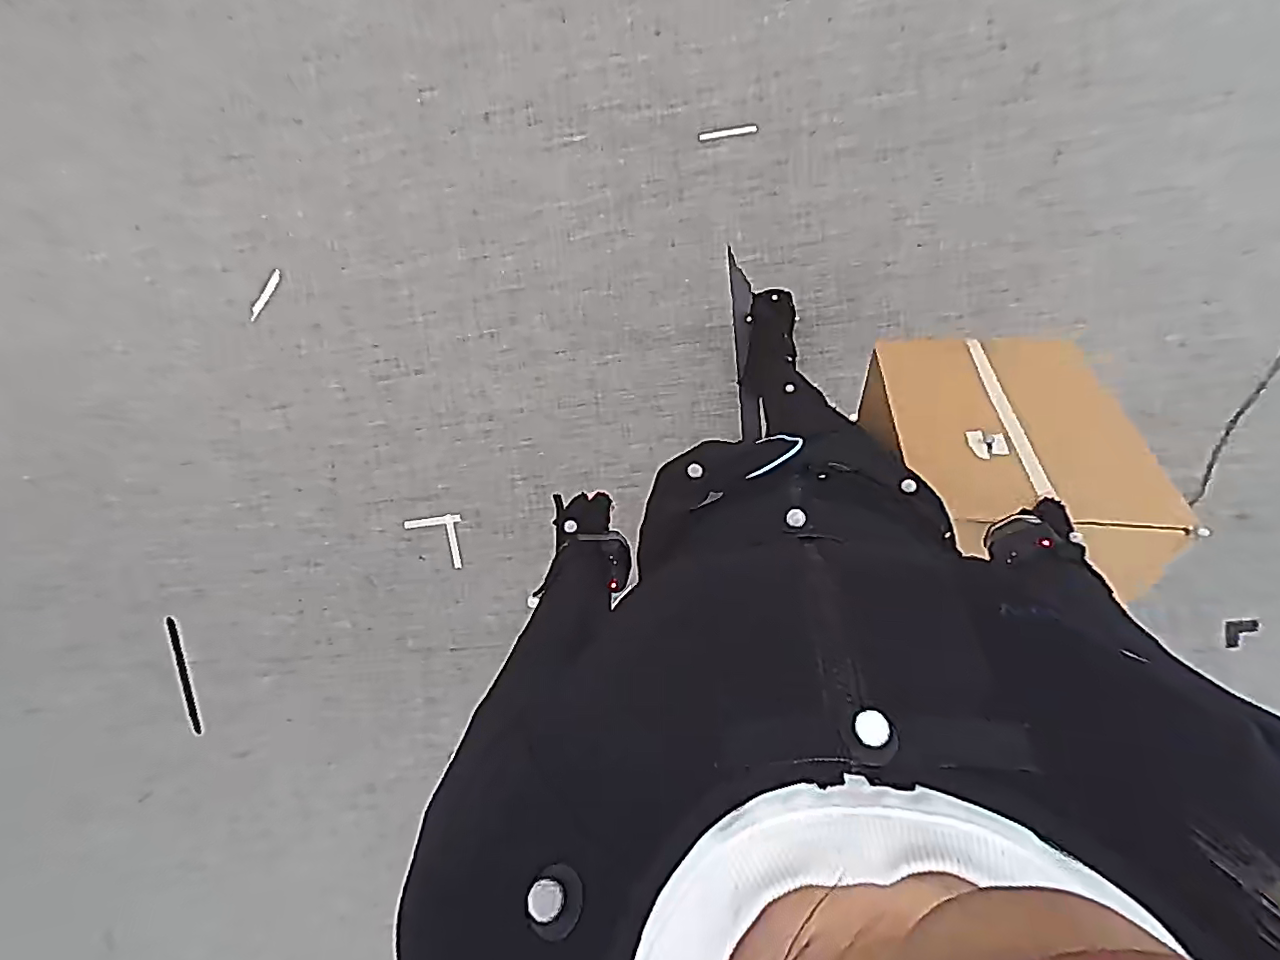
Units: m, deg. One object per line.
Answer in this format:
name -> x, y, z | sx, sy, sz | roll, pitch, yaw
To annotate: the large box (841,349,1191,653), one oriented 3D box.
large box -> 0.545, 0.024, 0.906 | 0.320, 0.408, 0.320 | 2, 137, 10
